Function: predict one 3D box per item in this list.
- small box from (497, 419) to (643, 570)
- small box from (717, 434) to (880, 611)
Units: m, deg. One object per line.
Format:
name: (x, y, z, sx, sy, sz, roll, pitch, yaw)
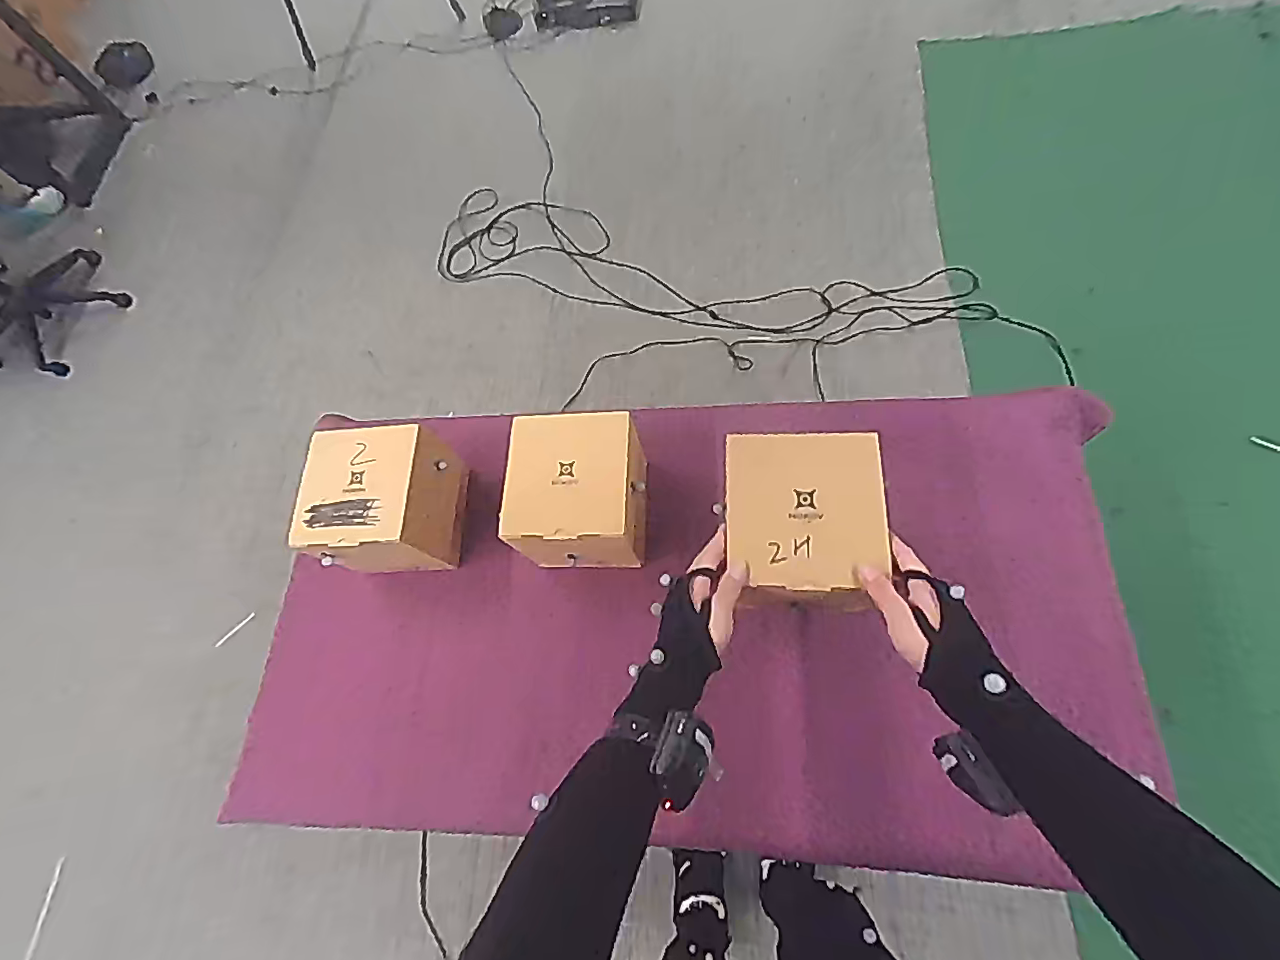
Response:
small box: (-0.090, 0.027, 0.786, 0.168, 0.176, 0.179, -2, 70, 9)
small box: (0.180, 0.057, 0.657, 0.168, 0.176, 0.179, 0, 70, 11)
